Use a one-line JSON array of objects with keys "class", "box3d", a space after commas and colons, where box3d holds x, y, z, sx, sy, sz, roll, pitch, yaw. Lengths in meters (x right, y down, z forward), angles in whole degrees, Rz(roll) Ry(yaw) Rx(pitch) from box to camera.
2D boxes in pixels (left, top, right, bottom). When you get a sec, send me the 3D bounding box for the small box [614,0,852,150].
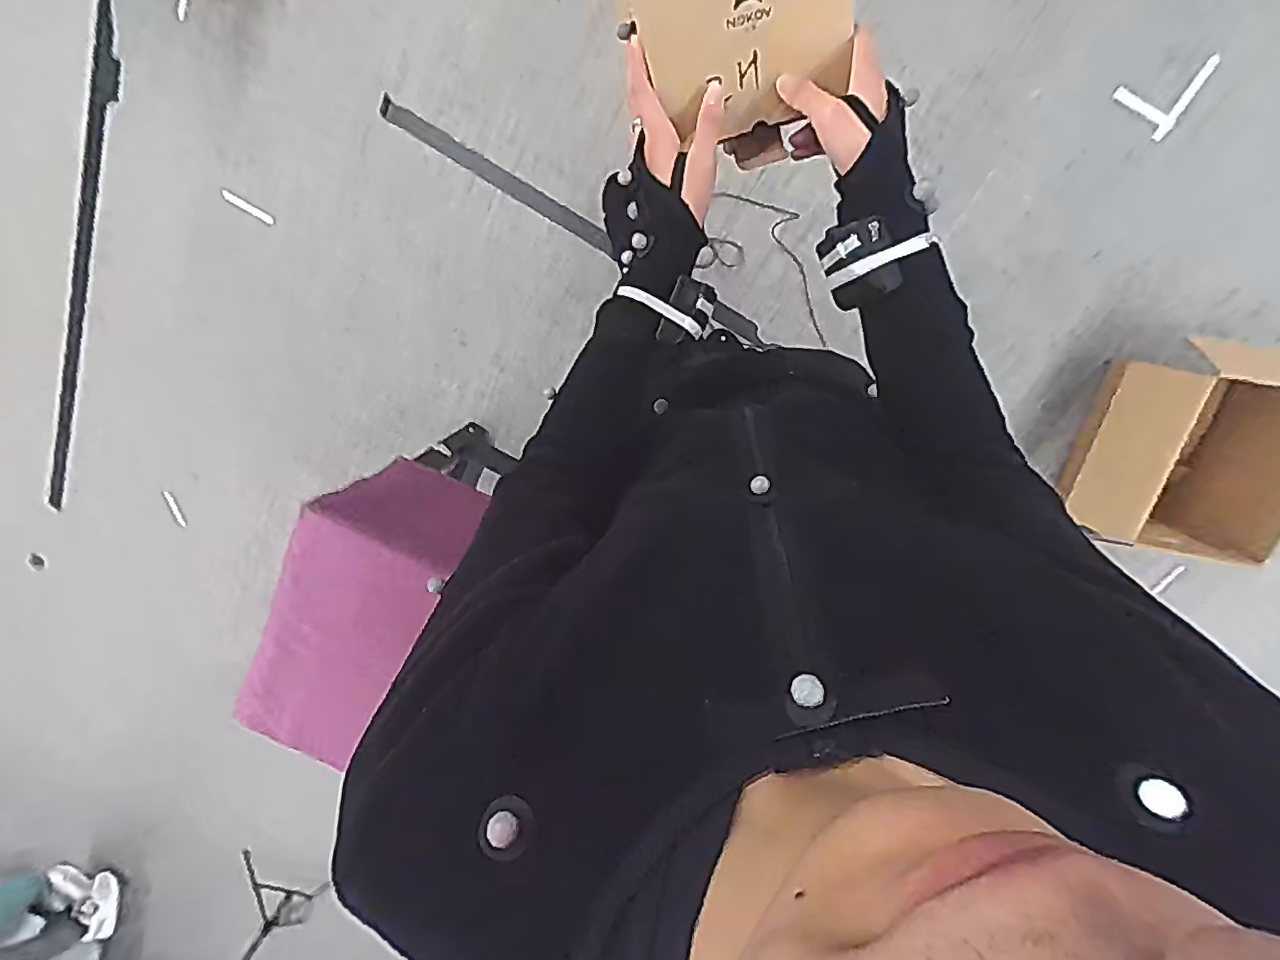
[{"class": "small box", "box3d": [0.071, -0.412, 0.481, 0.168, 0.176, 0.179, -15, 122, 3]}]
